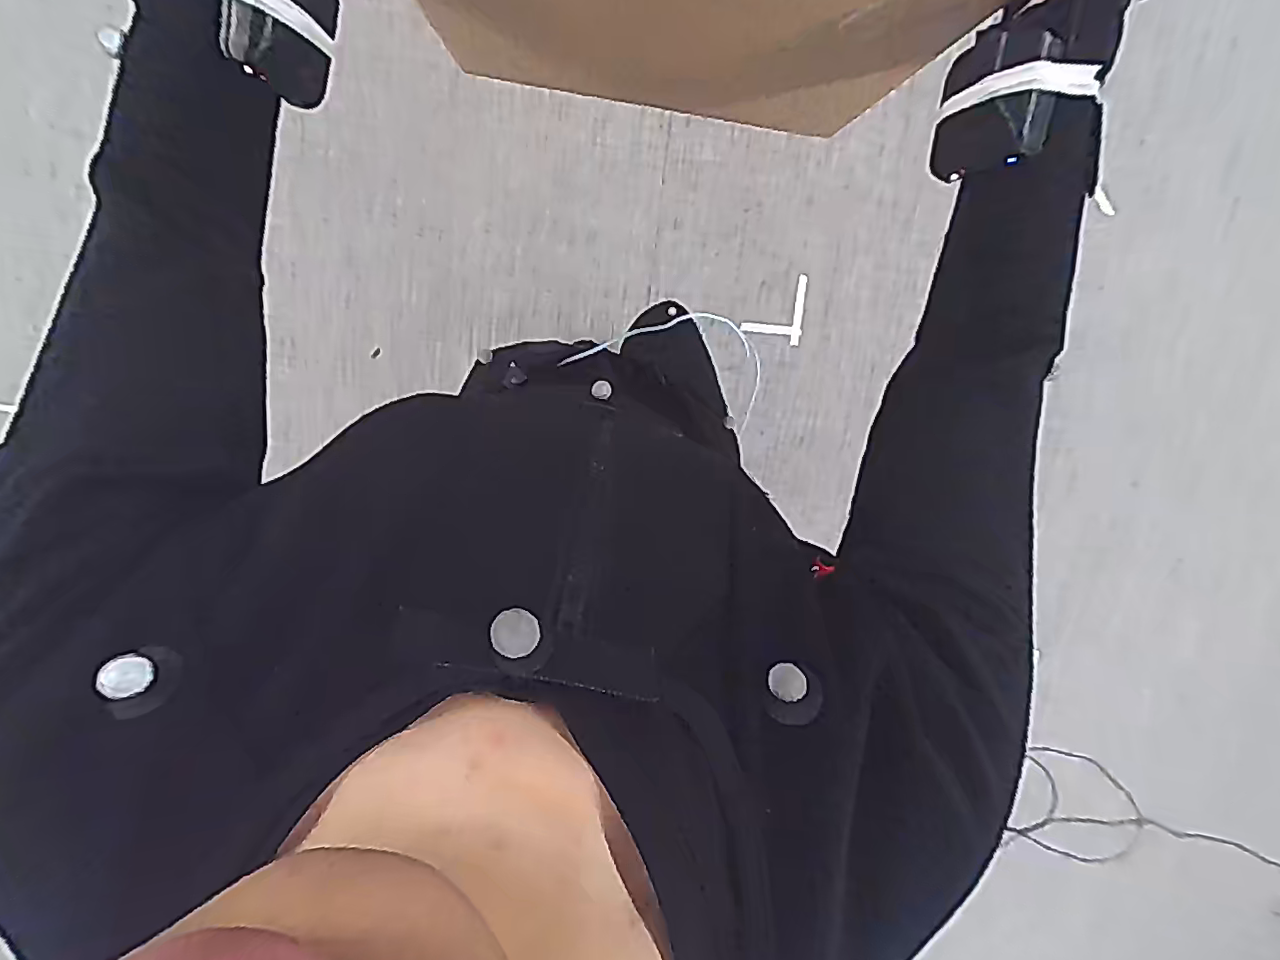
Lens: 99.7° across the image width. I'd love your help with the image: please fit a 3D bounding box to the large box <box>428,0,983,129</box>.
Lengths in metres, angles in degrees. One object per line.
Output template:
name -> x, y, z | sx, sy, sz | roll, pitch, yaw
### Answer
large box -> 0.040, -0.506, 0.401 | 0.408, 0.320, 0.320 | 7, 109, -5
